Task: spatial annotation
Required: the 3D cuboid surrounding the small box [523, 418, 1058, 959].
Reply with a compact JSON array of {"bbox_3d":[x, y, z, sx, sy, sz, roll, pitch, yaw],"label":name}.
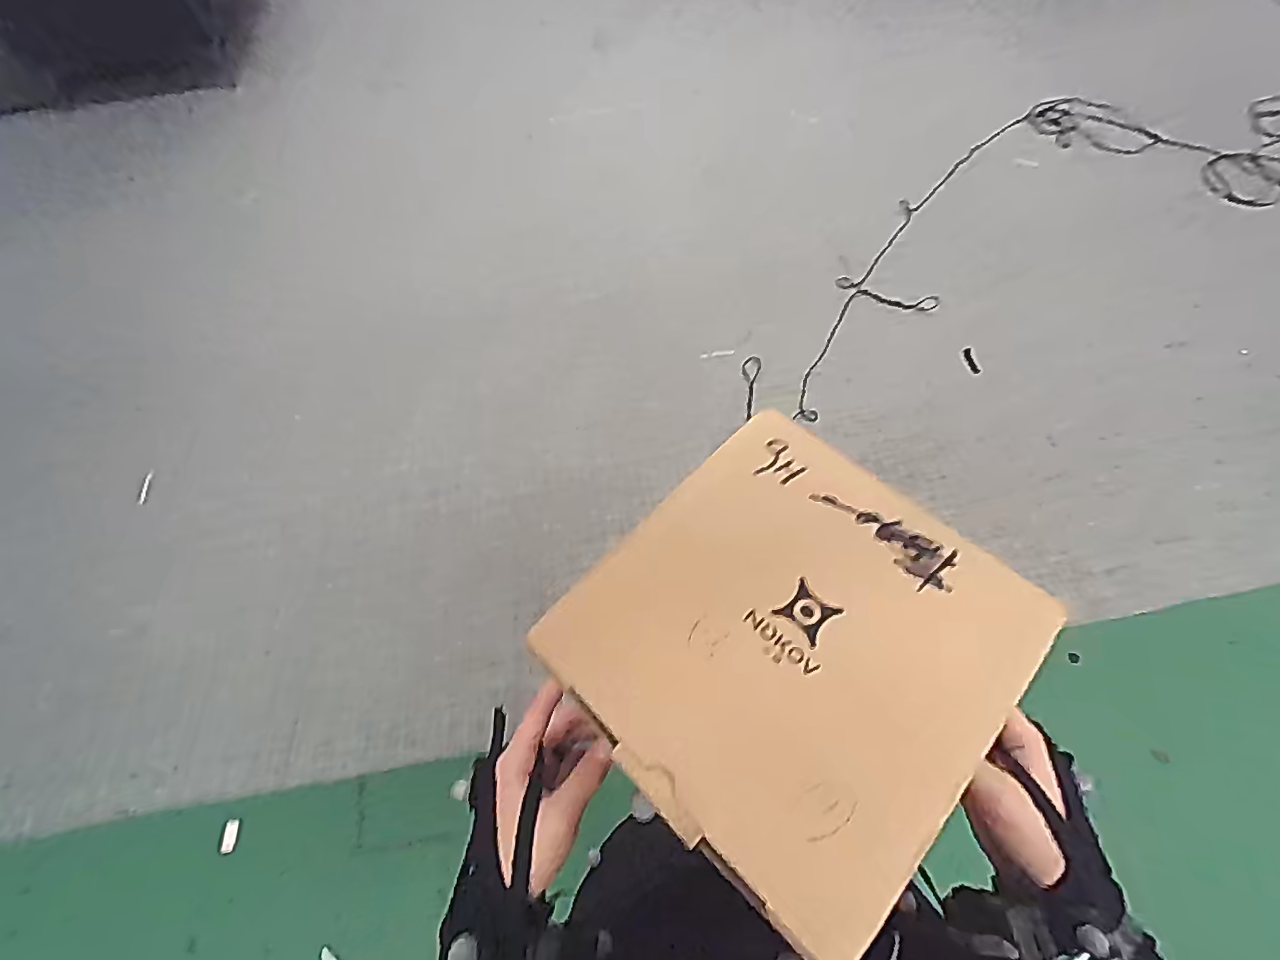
[{"bbox_3d":[0.069,0.107,0.305,0.168,0.176,0.179,40,70,23],"label":"small box"}]
